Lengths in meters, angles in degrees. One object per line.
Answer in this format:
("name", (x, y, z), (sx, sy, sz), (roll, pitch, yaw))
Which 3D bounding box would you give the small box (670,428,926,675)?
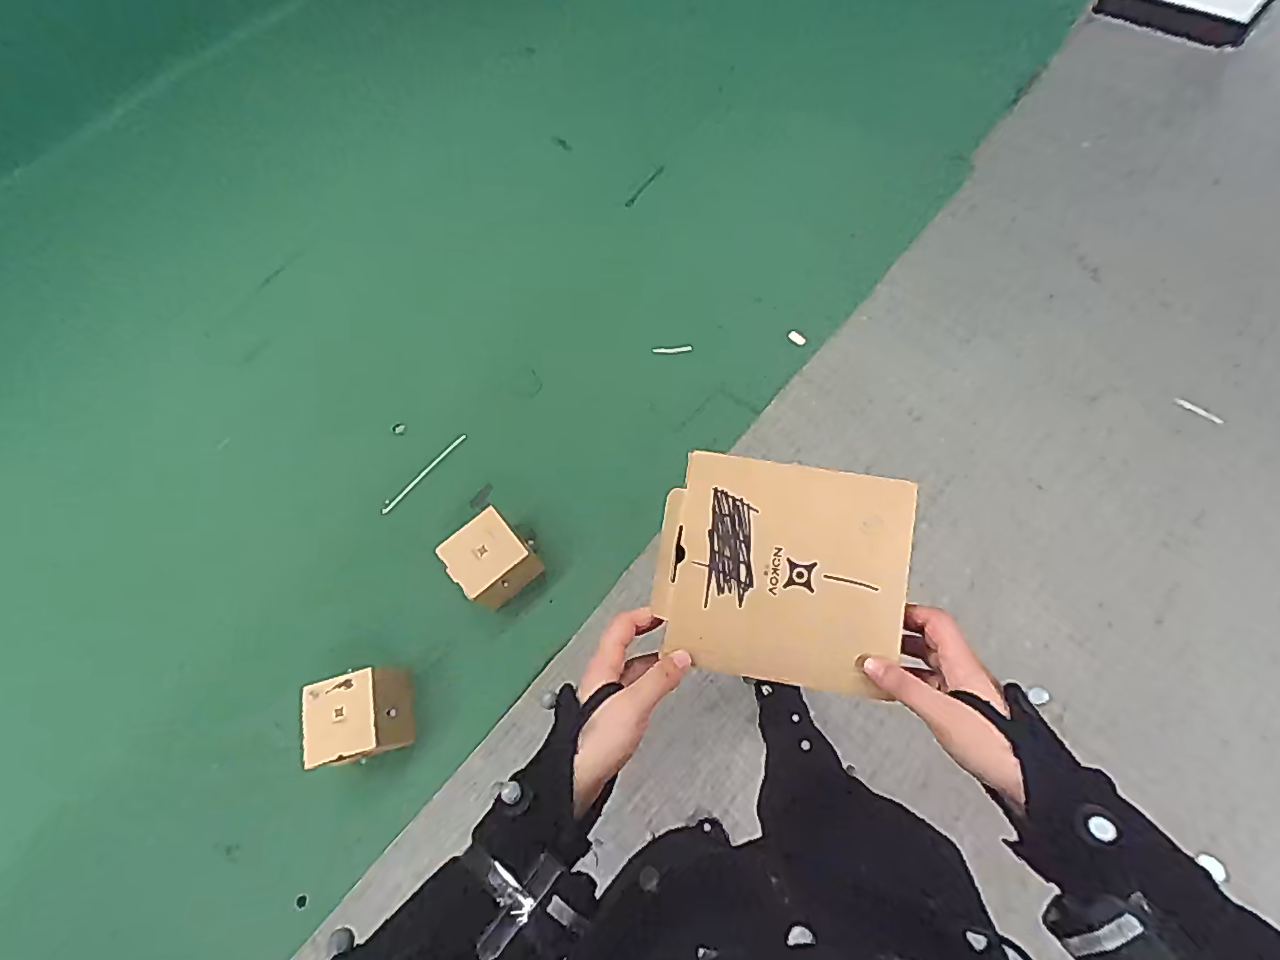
("small box", (0.125, 0.060, 0.489), (0.179, 0.176, 0.168), (9, 85, 4))

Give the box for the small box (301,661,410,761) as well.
("small box", (-0.656, 0.533, 1.262), (0.168, 0.176, 0.179), (-15, 68, 0))

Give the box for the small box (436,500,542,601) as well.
("small box", (-0.374, 0.186, 1.371), (0.179, 0.176, 0.168), (-39, 71, -11))
